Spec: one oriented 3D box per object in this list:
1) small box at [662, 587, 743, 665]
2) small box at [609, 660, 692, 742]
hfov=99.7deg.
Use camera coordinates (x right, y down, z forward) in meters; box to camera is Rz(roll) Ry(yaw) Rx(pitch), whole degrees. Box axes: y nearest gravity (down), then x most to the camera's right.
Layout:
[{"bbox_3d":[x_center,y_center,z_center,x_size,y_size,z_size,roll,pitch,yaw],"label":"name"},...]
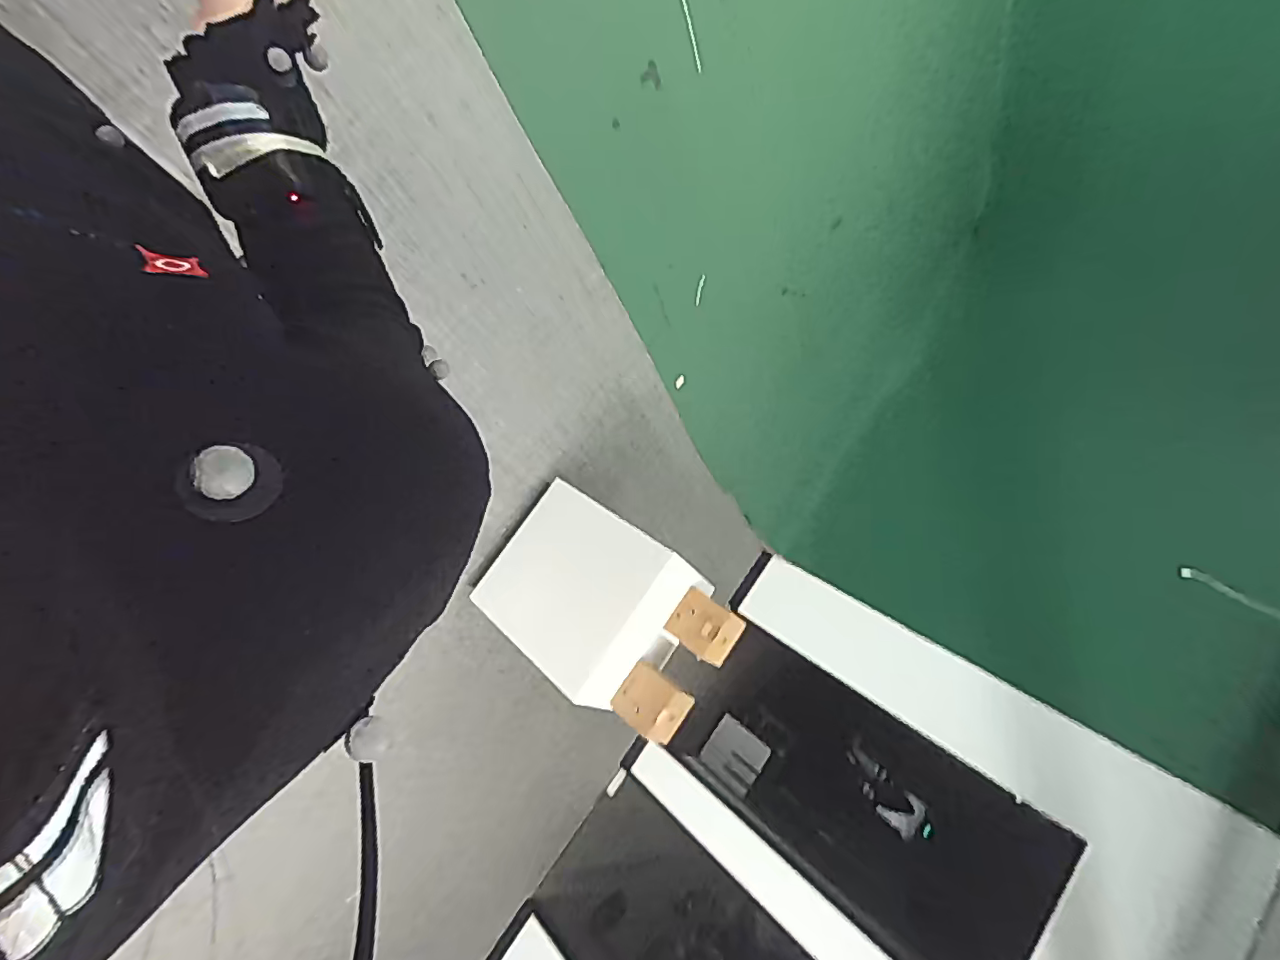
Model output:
[{"bbox_3d":[0.202,0.472,1.757,0.168,0.176,0.179,-55,143,-7],"label":"small box"},{"bbox_3d":[0.031,0.693,1.701,0.168,0.176,0.179,-53,145,-10],"label":"small box"}]
